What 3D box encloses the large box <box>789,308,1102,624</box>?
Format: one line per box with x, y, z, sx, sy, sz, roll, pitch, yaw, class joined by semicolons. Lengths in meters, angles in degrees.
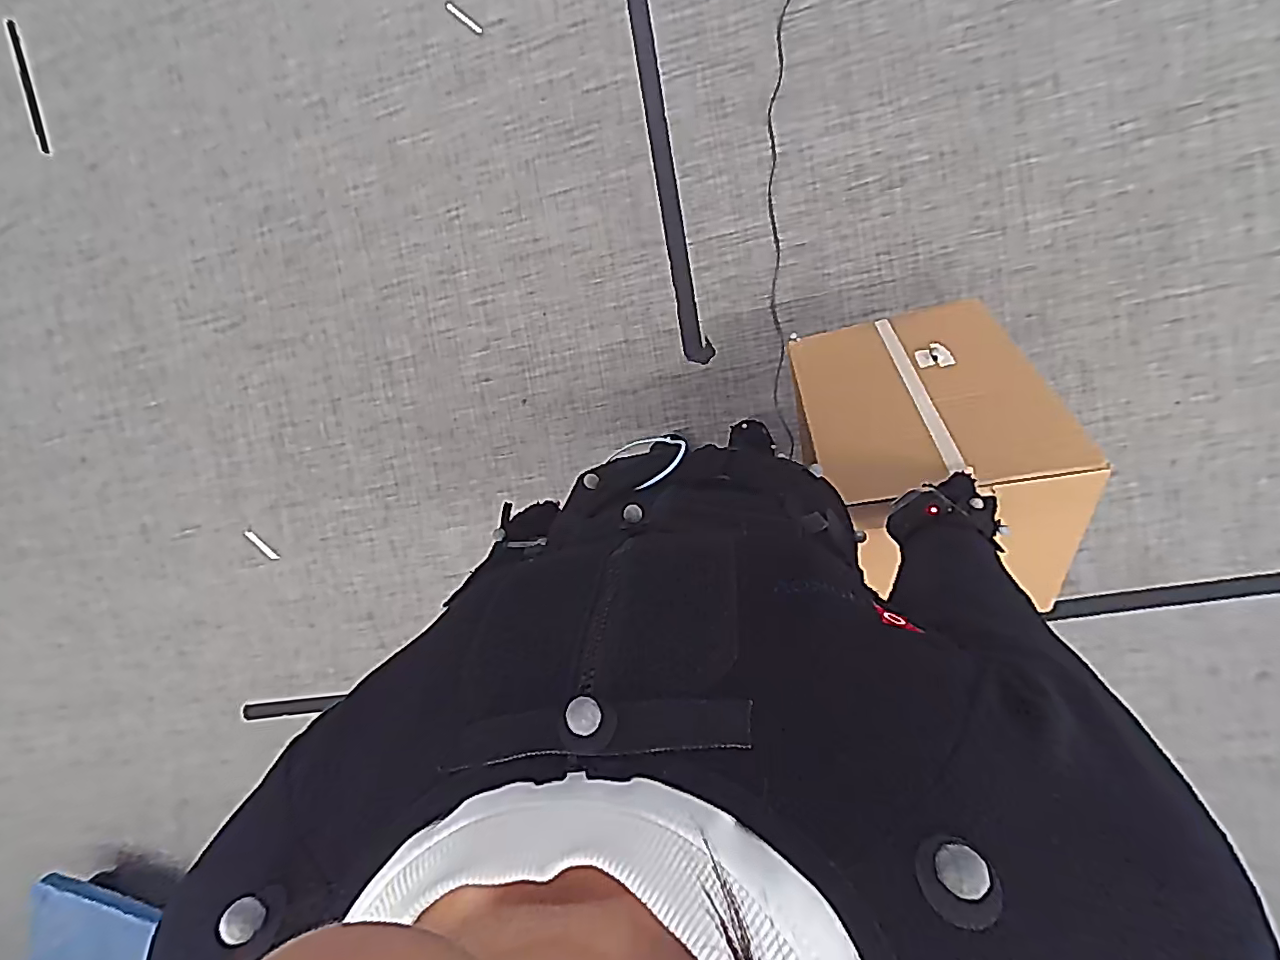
0.453;-0.024;0.908;0.320;0.408;0.320;-9;133;13;large box
